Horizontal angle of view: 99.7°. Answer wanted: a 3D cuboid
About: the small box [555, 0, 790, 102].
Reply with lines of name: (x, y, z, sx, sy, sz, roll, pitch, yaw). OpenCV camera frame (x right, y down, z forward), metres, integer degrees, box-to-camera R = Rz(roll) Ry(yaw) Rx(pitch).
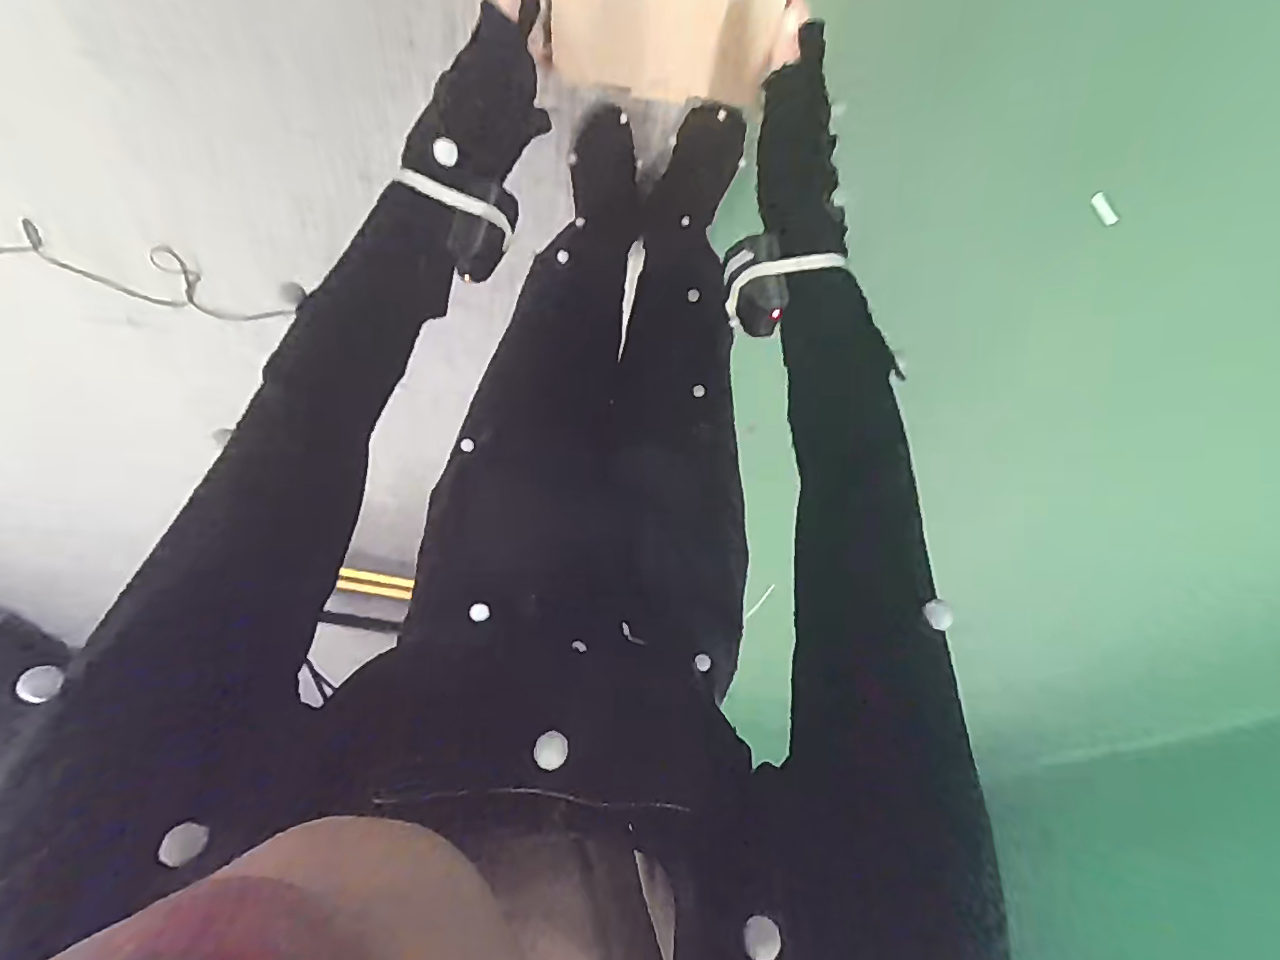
small box: (0.027, -0.417, 0.393, 0.168, 0.176, 0.179, 5, 145, -4)
